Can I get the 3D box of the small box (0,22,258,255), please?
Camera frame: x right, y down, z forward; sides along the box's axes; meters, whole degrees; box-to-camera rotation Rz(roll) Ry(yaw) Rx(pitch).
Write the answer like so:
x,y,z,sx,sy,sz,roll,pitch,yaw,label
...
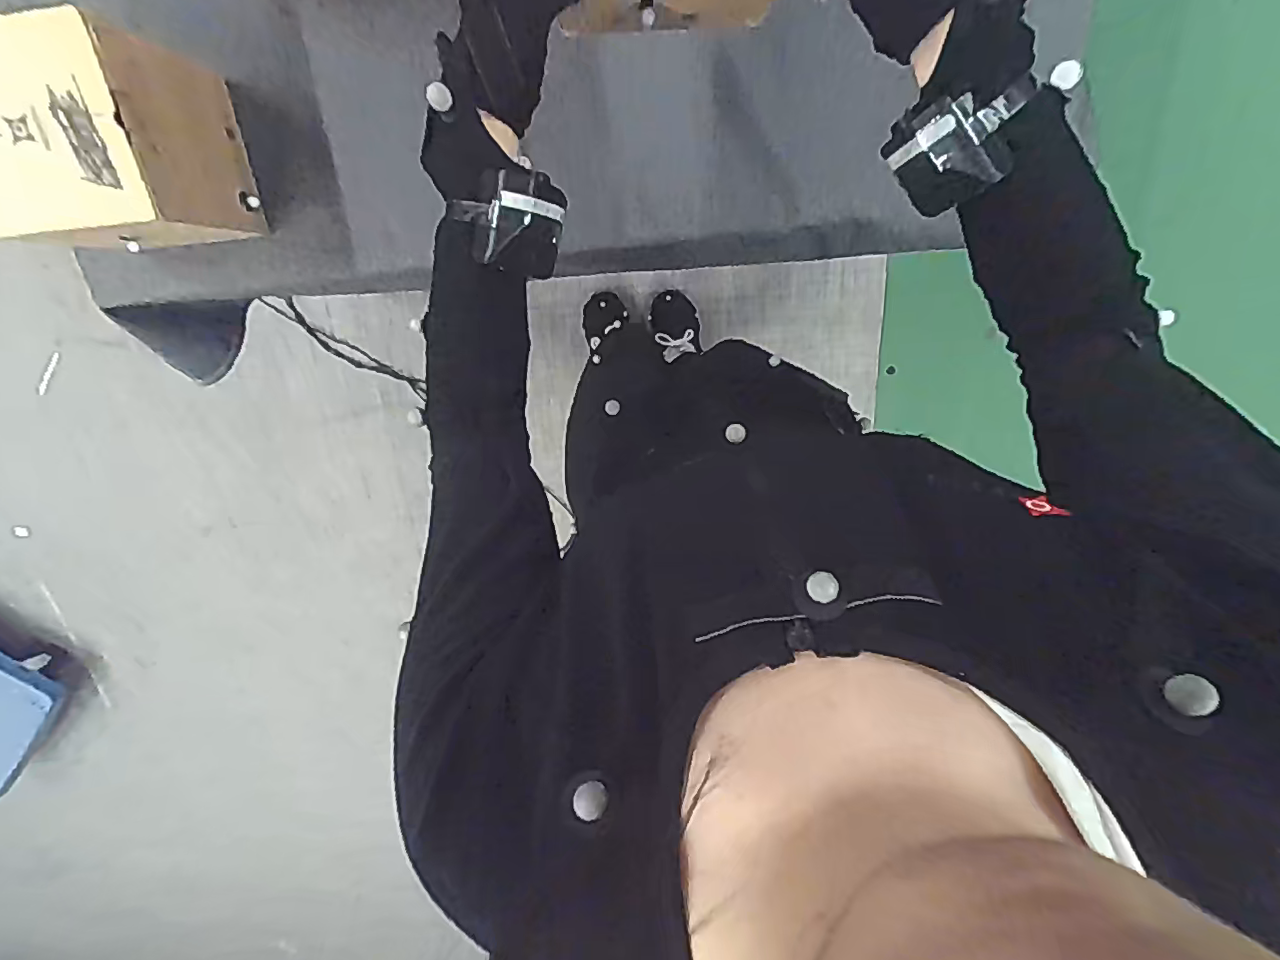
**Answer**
x,y,z,sx,sy,sz,roll,pitch,yaw,label
-0.542,-0.333,0.562,0.179,0.176,0.168,-5,109,2,small box
